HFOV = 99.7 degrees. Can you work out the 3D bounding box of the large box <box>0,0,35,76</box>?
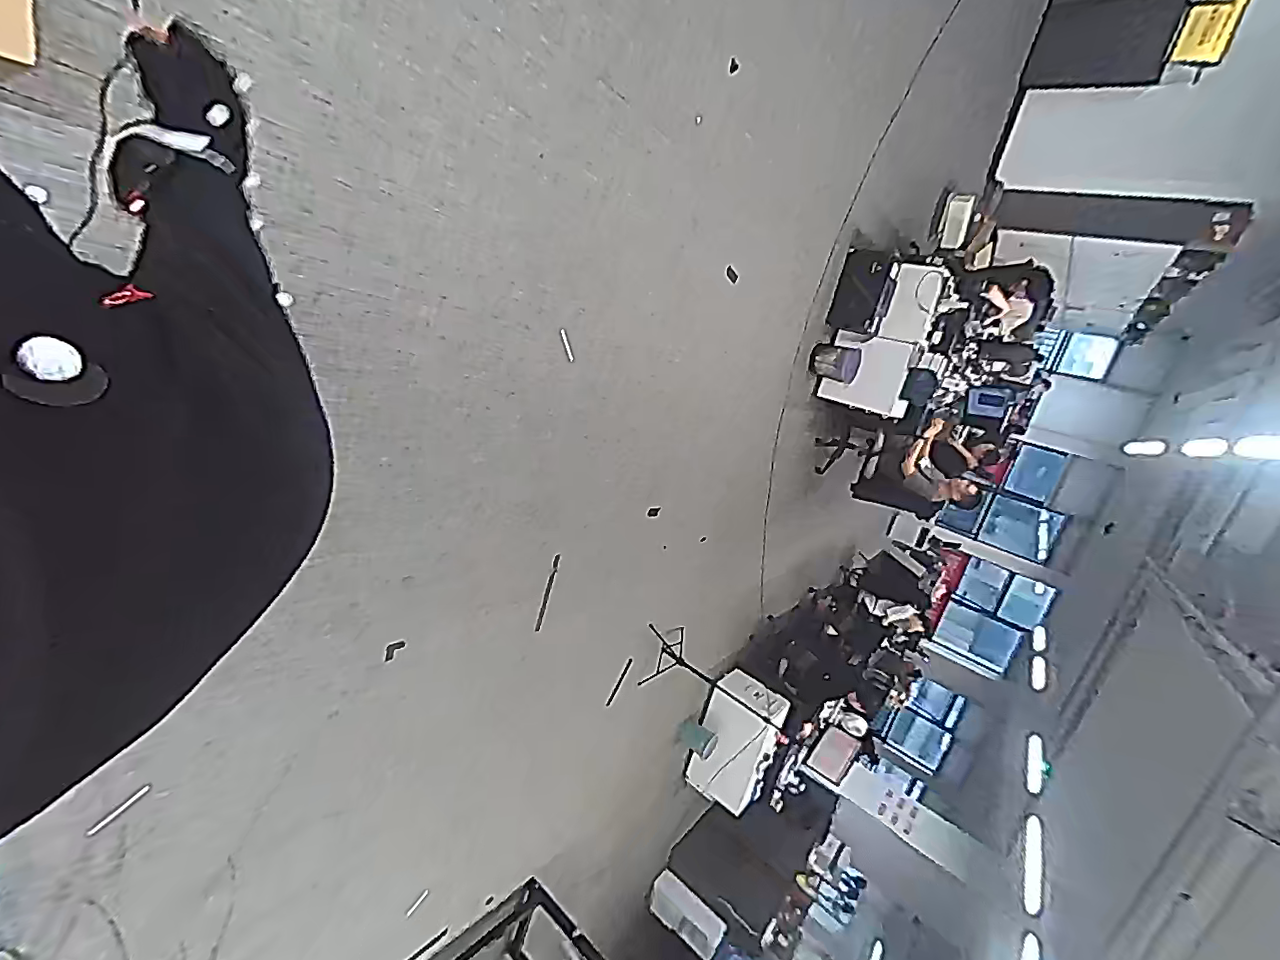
[{"bbox_3d":[-1.022,-0.730,0.610,0.408,0.320,0.320,-10,118,-53],"label":"large box"}]
